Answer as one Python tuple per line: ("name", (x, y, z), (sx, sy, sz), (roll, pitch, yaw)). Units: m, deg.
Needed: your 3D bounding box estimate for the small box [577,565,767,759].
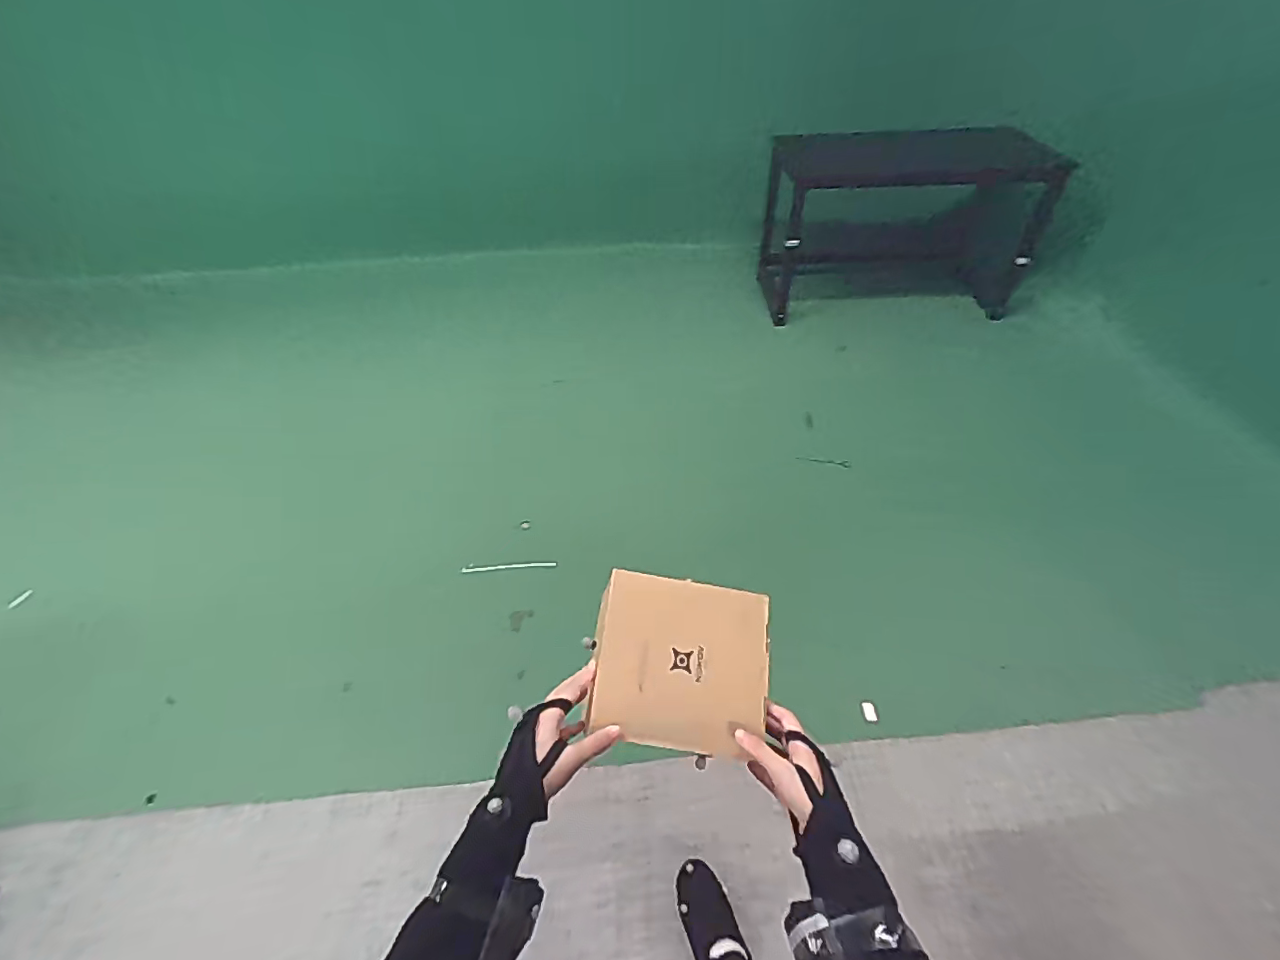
("small box", (0.030, 0.211, 0.618), (0.179, 0.176, 0.168), (11, 64, -4))
